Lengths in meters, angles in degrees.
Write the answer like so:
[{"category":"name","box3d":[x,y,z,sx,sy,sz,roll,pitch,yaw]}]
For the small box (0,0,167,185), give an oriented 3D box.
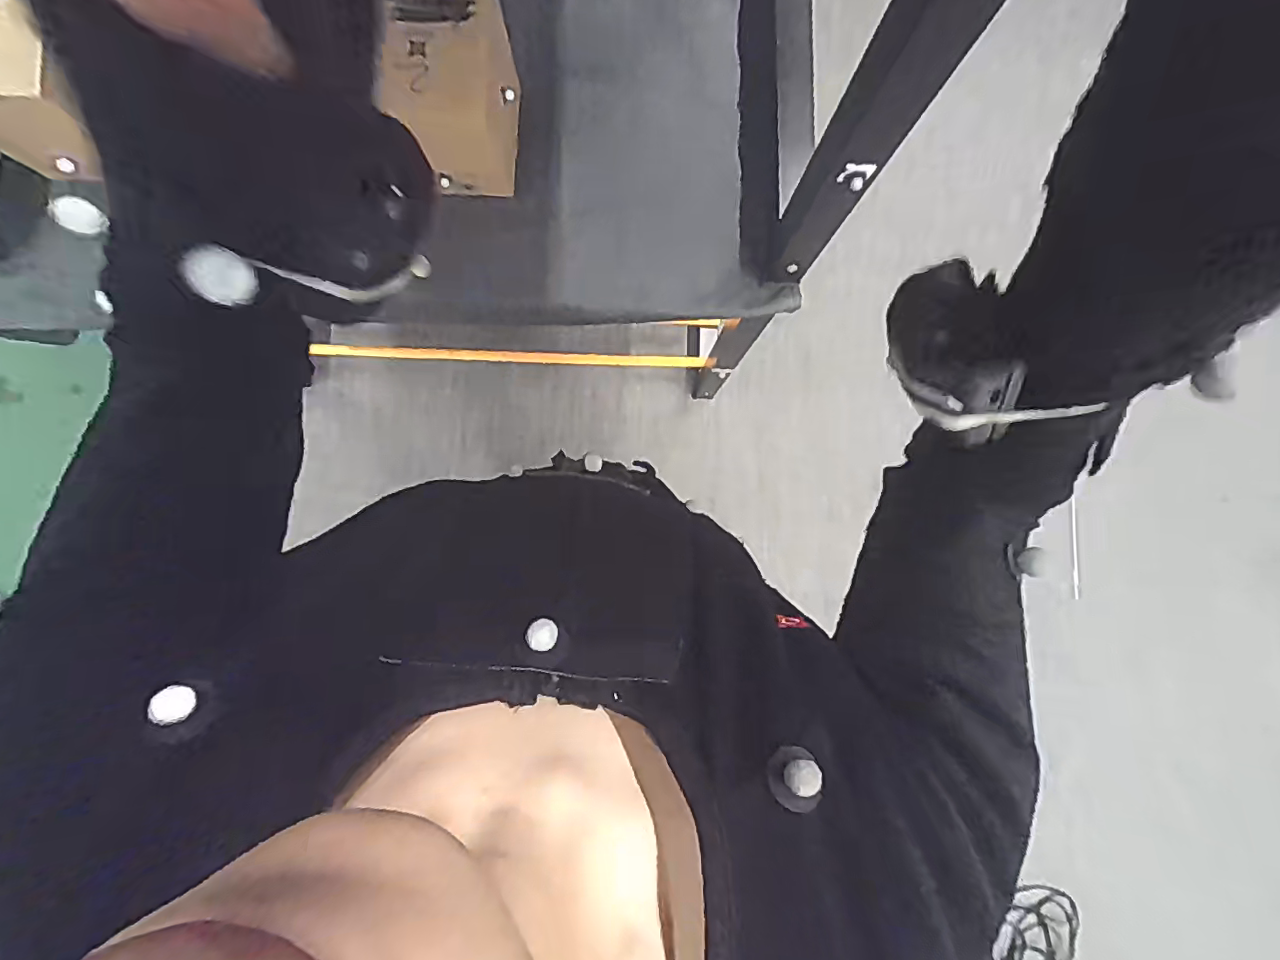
[{"category":"small box","box3d":[-0.765,-0.524,0.708,0.168,0.176,0.179,2,87,-2]}]
